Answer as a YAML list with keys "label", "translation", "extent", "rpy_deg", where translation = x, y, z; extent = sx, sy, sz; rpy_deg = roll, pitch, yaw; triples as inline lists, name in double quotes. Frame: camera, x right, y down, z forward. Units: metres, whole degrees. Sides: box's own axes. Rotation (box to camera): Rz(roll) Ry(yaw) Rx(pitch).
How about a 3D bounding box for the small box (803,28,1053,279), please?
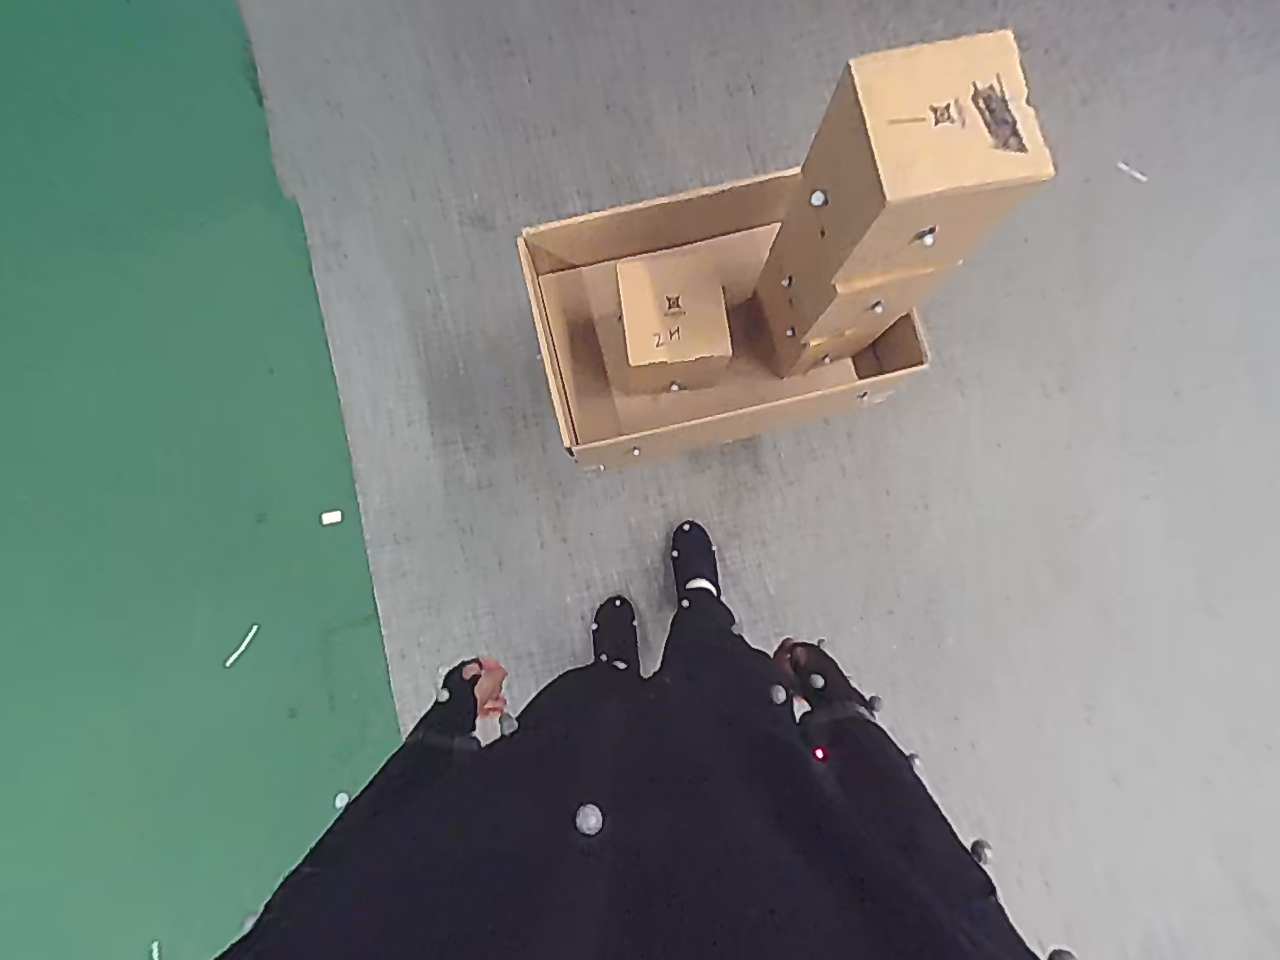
- label: "small box"
  translation: [0.309, -0.356, 0.618]
  extent: [0.179, 0.176, 0.168]
  rpy_deg: [-10, 82, 0]
